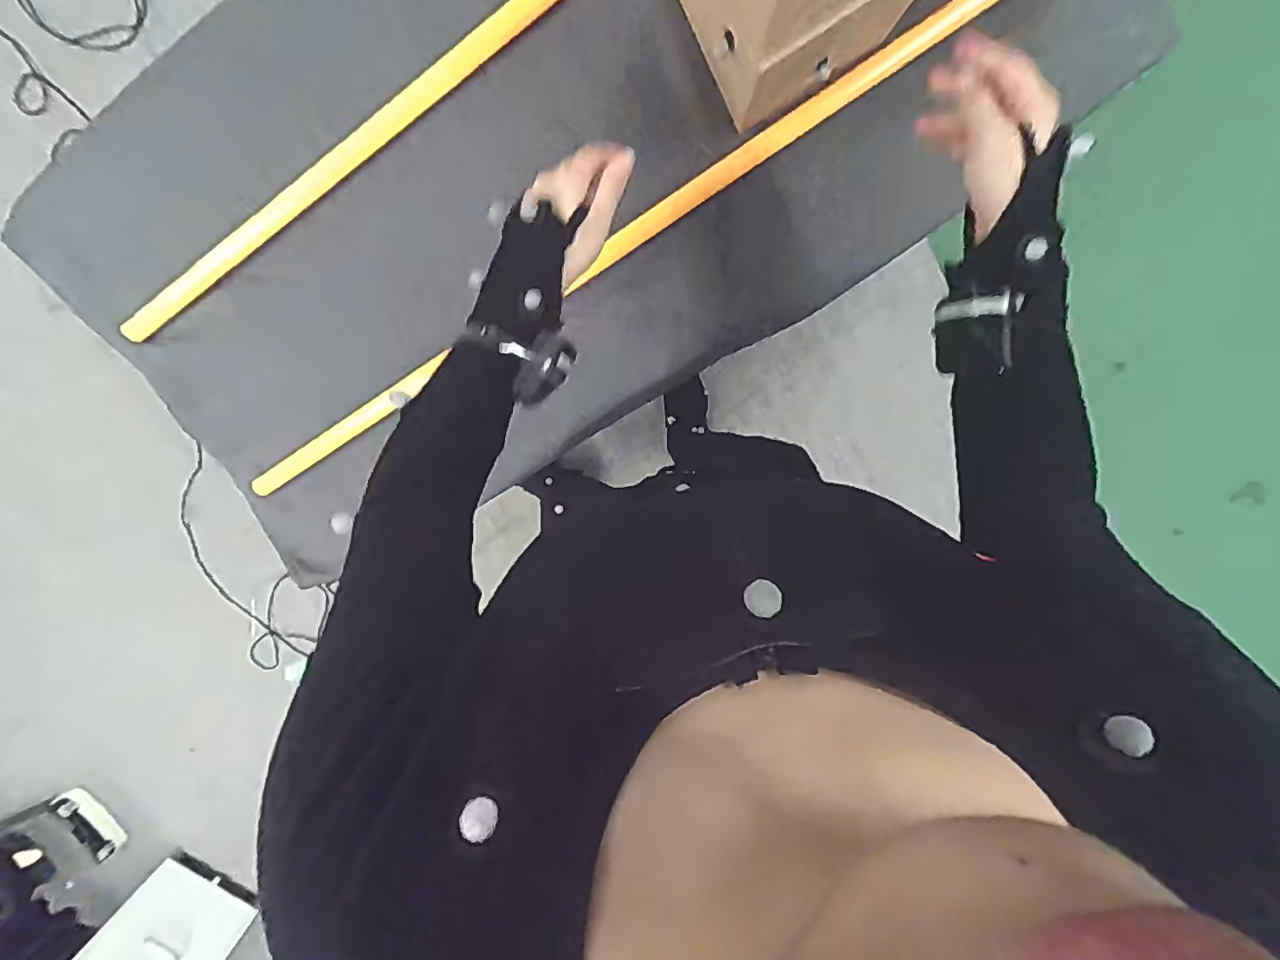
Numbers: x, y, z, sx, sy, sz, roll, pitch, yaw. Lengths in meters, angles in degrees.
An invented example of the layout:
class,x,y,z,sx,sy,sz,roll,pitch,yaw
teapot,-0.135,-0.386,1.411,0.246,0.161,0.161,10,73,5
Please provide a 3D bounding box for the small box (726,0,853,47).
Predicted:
class,x,y,z,sx,sy,sz,roll,pitch,yaw
small box,0.120,-0.422,0.337,0.168,0.176,0.179,-27,103,12
